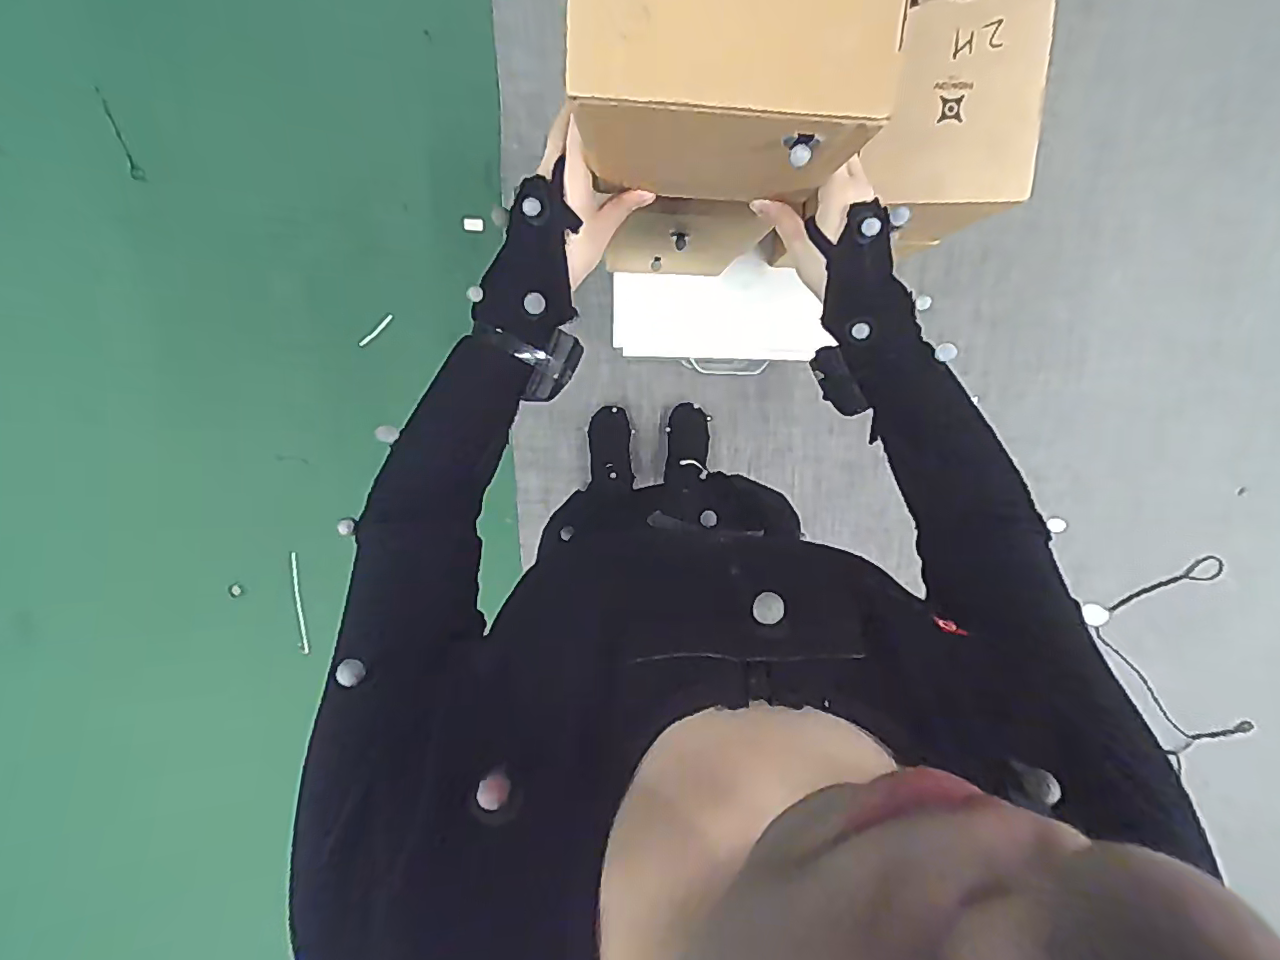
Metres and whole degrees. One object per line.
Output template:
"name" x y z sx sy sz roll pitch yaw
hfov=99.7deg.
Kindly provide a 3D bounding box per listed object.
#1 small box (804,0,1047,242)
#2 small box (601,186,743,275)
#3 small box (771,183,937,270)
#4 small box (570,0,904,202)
"small box" 0.282 -0.362 0.578 0.168 0.176 0.179 -1 101 0
"small box" 0.040 -0.382 0.738 0.179 0.176 0.168 1 102 -2
"small box" 0.287 -0.390 0.740 0.179 0.176 0.168 1 102 -1
"small box" 0.052 -0.296 0.353 0.179 0.176 0.168 2 103 -3
